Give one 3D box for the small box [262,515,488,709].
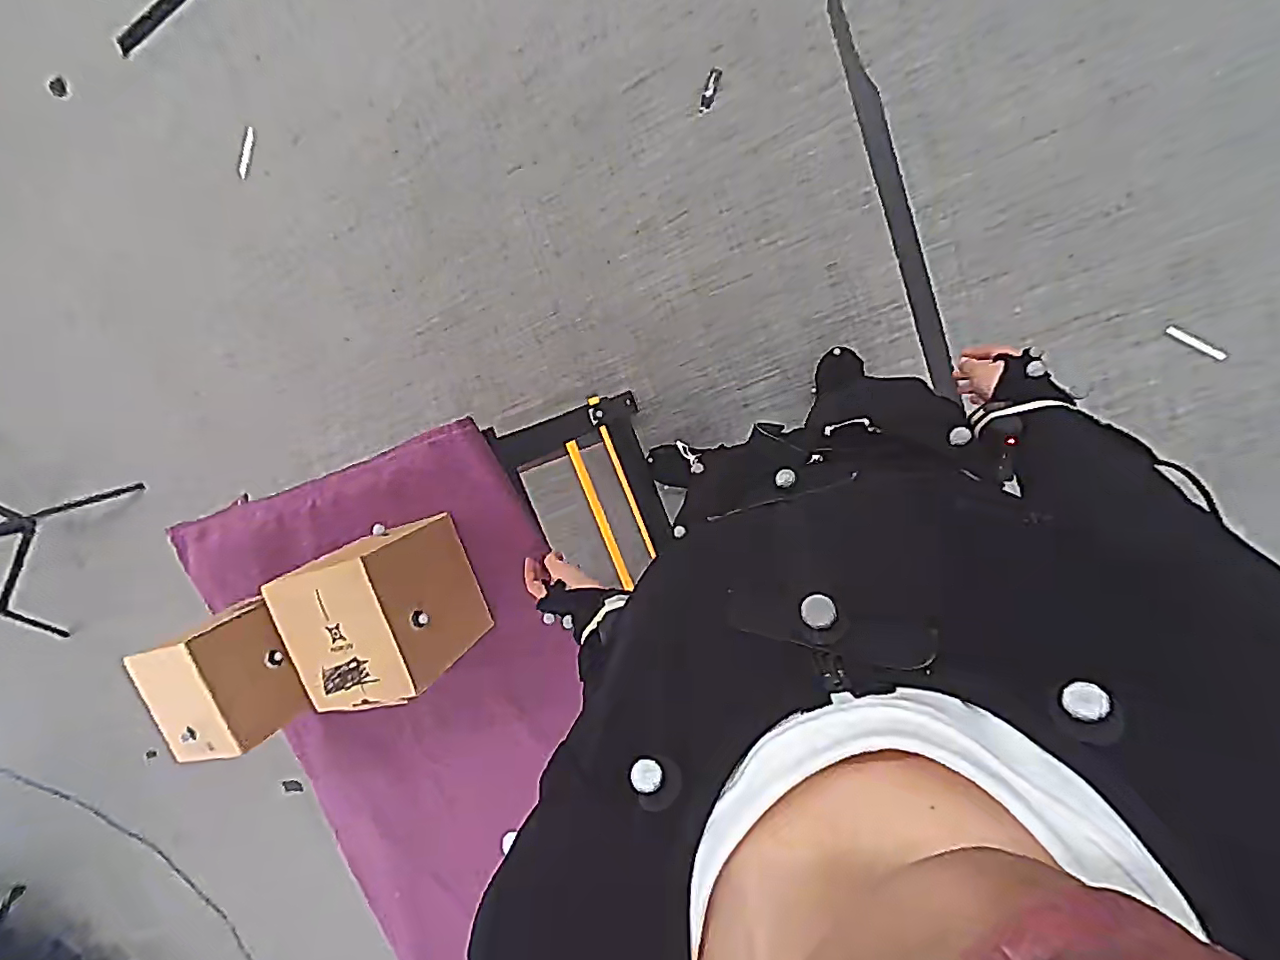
[{"bbox_3d":[-0.329,0.165,0.706,0.168,0.176,0.179,-16,99,19],"label":"small box"}]
